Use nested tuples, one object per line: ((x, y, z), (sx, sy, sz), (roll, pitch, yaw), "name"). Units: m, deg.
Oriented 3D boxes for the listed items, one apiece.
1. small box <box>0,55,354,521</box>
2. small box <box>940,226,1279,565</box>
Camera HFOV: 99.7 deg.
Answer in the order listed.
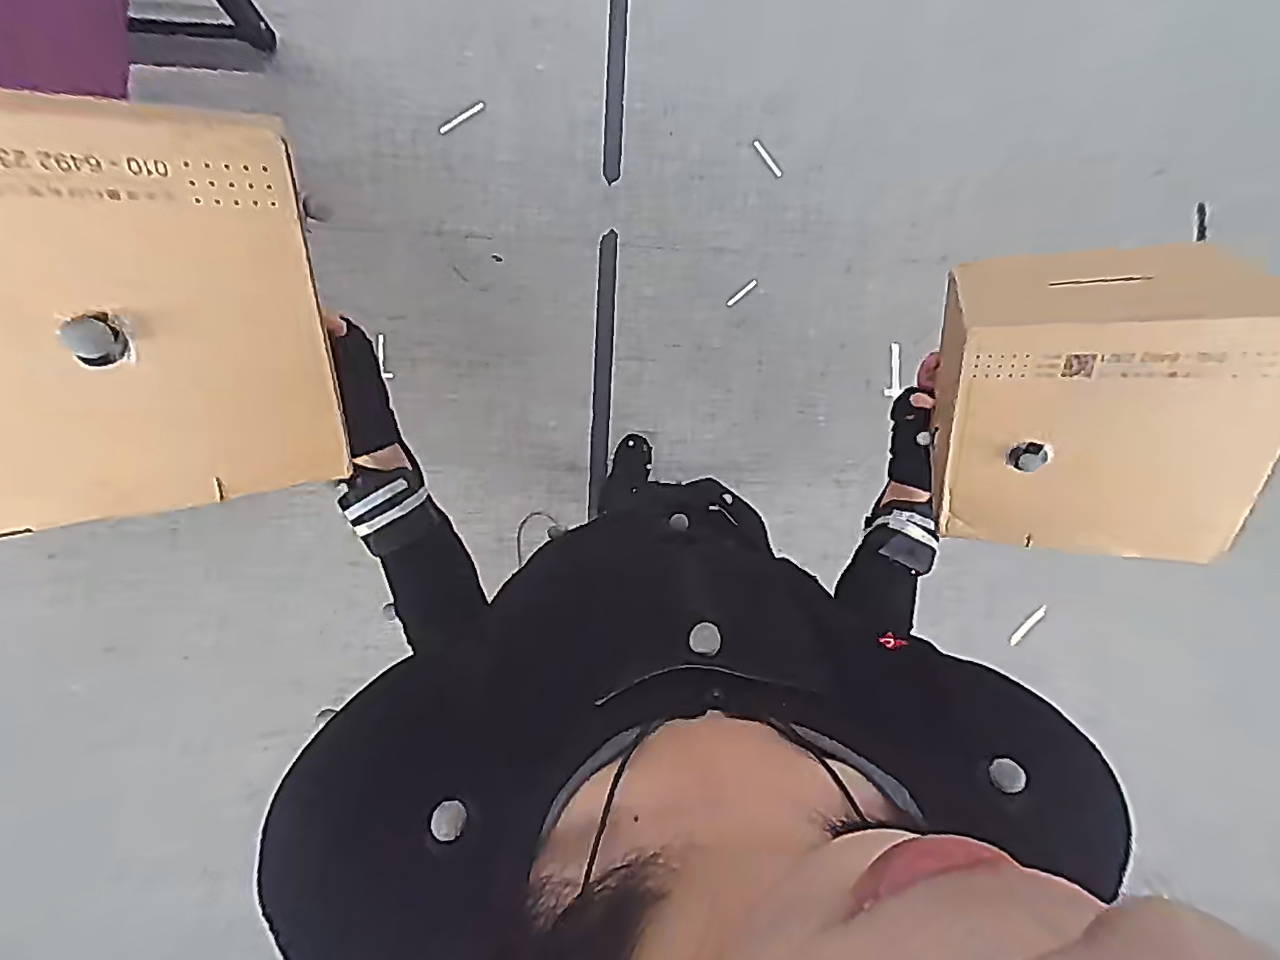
((-0.256, -0.105, 0.269), (0.168, 0.179, 0.176), (-11, 126, -27), "small box")
((0.320, -0.068, 0.386), (0.168, 0.179, 0.176), (6, 126, 24), "small box")
